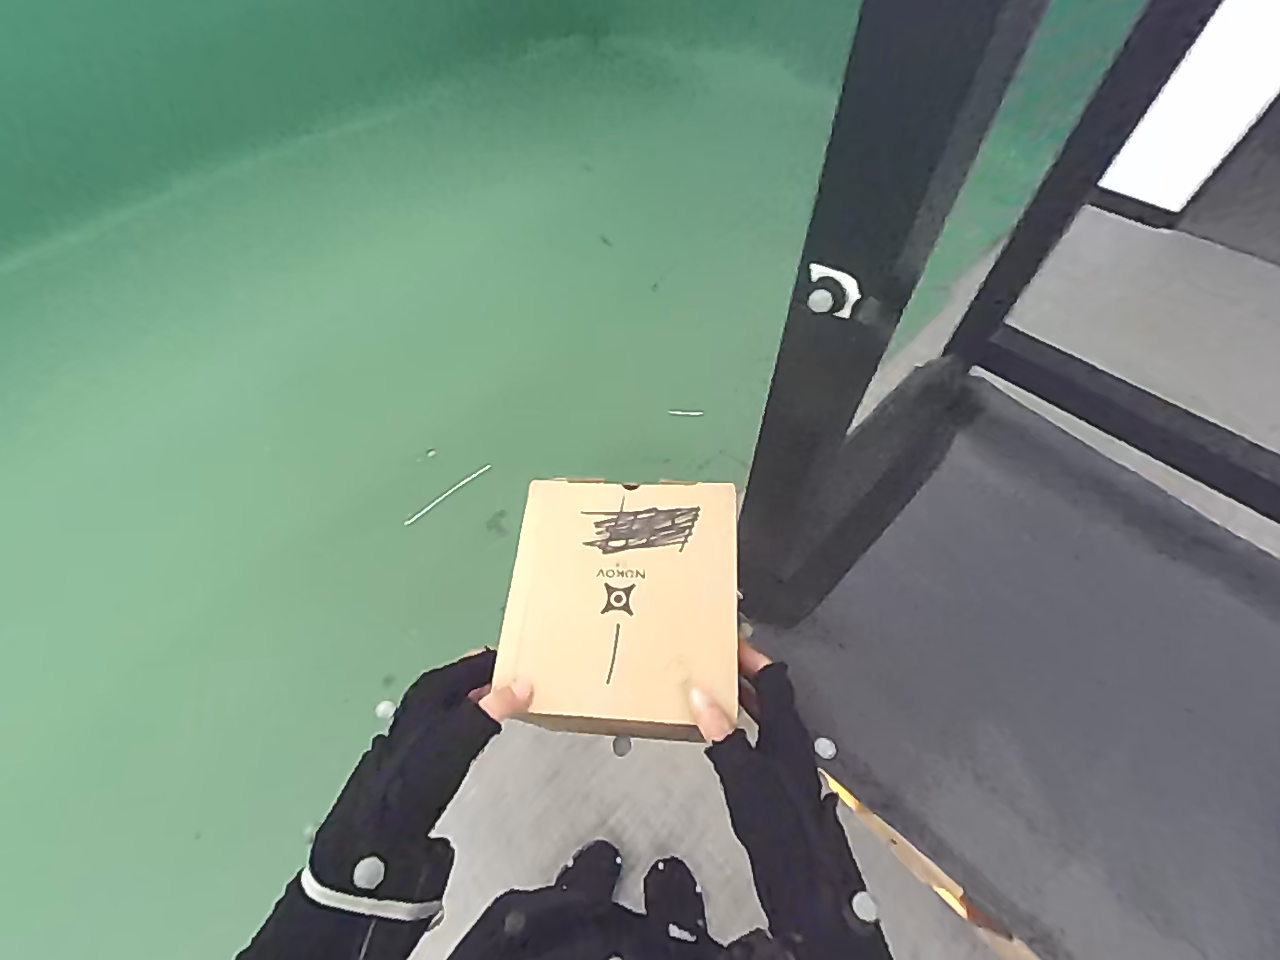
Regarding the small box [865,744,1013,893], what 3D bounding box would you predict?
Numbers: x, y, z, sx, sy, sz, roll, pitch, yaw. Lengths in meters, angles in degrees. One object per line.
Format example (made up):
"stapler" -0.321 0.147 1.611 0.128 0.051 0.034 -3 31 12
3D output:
"small box" 0.564 0.651 1.050 0.179 0.176 0.168 -40 64 -19
